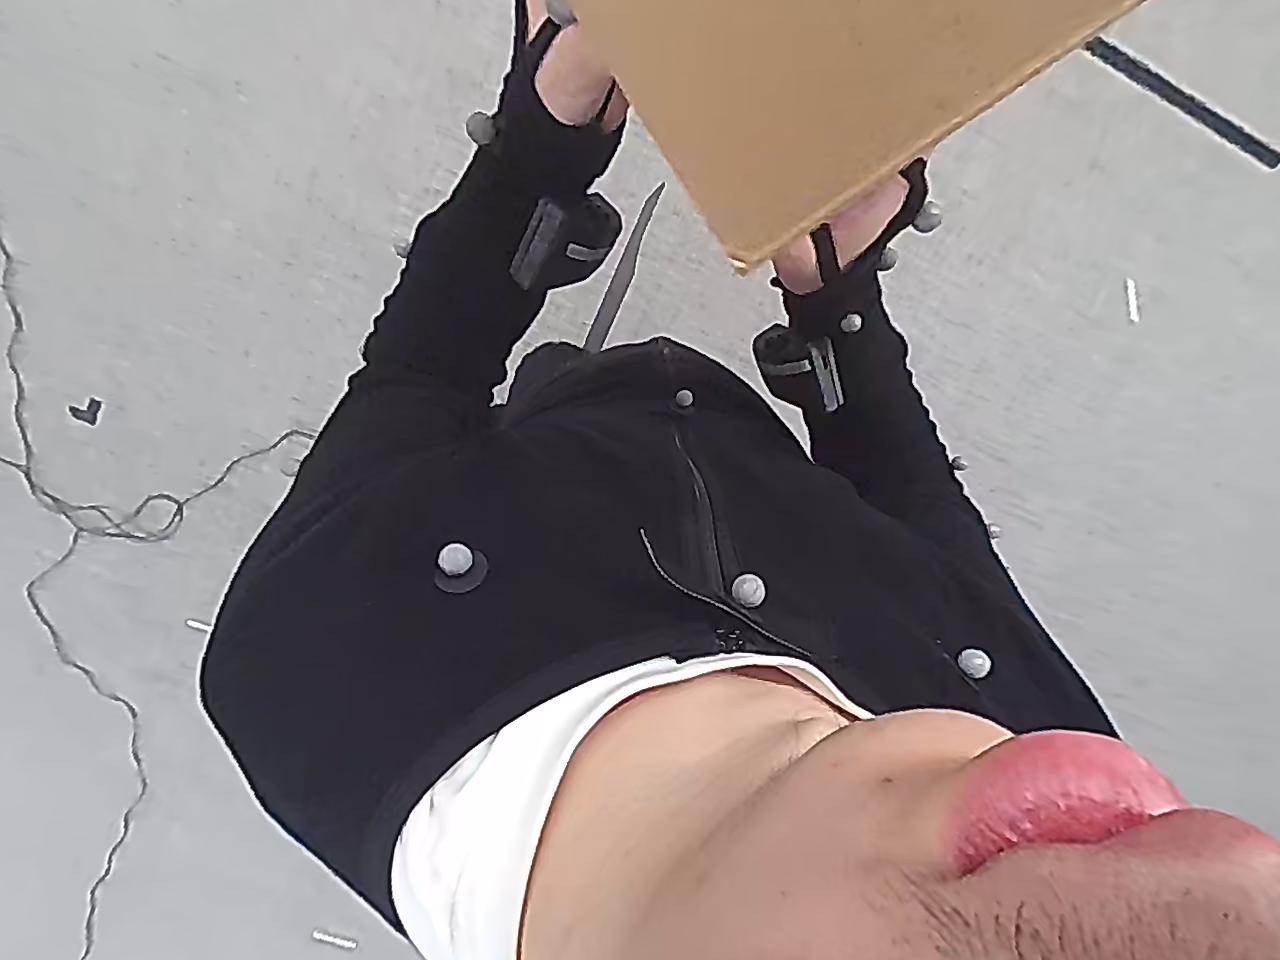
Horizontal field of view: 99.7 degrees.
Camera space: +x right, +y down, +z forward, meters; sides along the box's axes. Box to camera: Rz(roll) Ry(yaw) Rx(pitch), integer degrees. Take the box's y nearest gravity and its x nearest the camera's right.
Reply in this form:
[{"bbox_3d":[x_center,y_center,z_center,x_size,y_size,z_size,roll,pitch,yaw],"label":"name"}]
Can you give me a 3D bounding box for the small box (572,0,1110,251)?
[{"bbox_3d":[0.060,-0.209,0.162,0.168,0.176,0.179,-28,115,34],"label":"small box"}]
